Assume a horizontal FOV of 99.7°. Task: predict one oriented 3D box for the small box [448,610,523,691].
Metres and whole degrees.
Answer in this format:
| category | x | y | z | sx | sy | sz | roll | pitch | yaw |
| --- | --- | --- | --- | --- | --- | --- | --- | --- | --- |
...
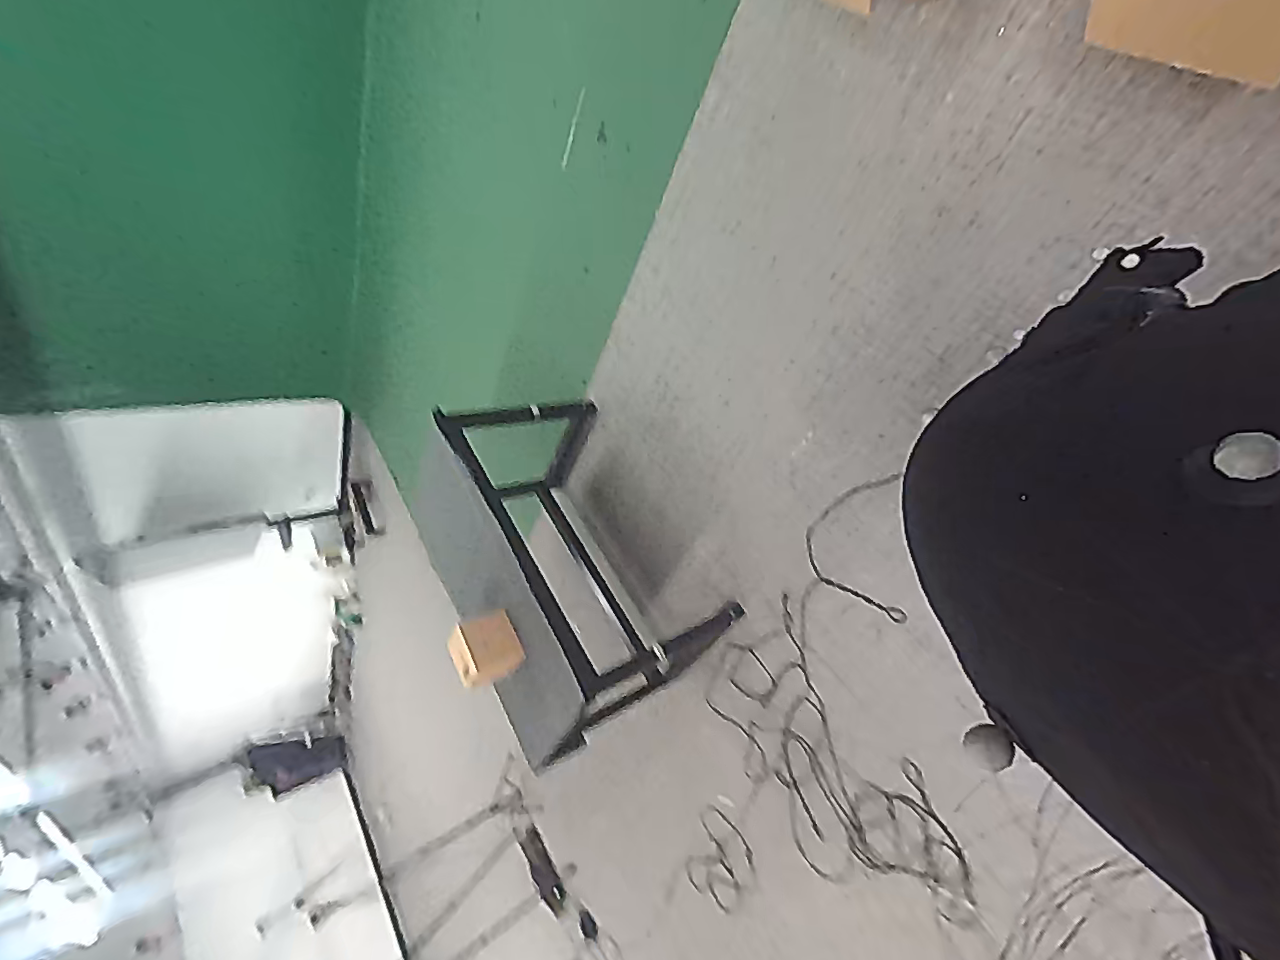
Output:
| category | x | y | z | sx | sy | sz | roll | pitch | yaw |
| --- | --- | --- | --- | --- | --- | --- | --- | --- | --- |
| small box | -0.512 | 0.562 | 1.793 | 0.179 | 0.176 | 0.168 | 56 | 135 | 24 |
